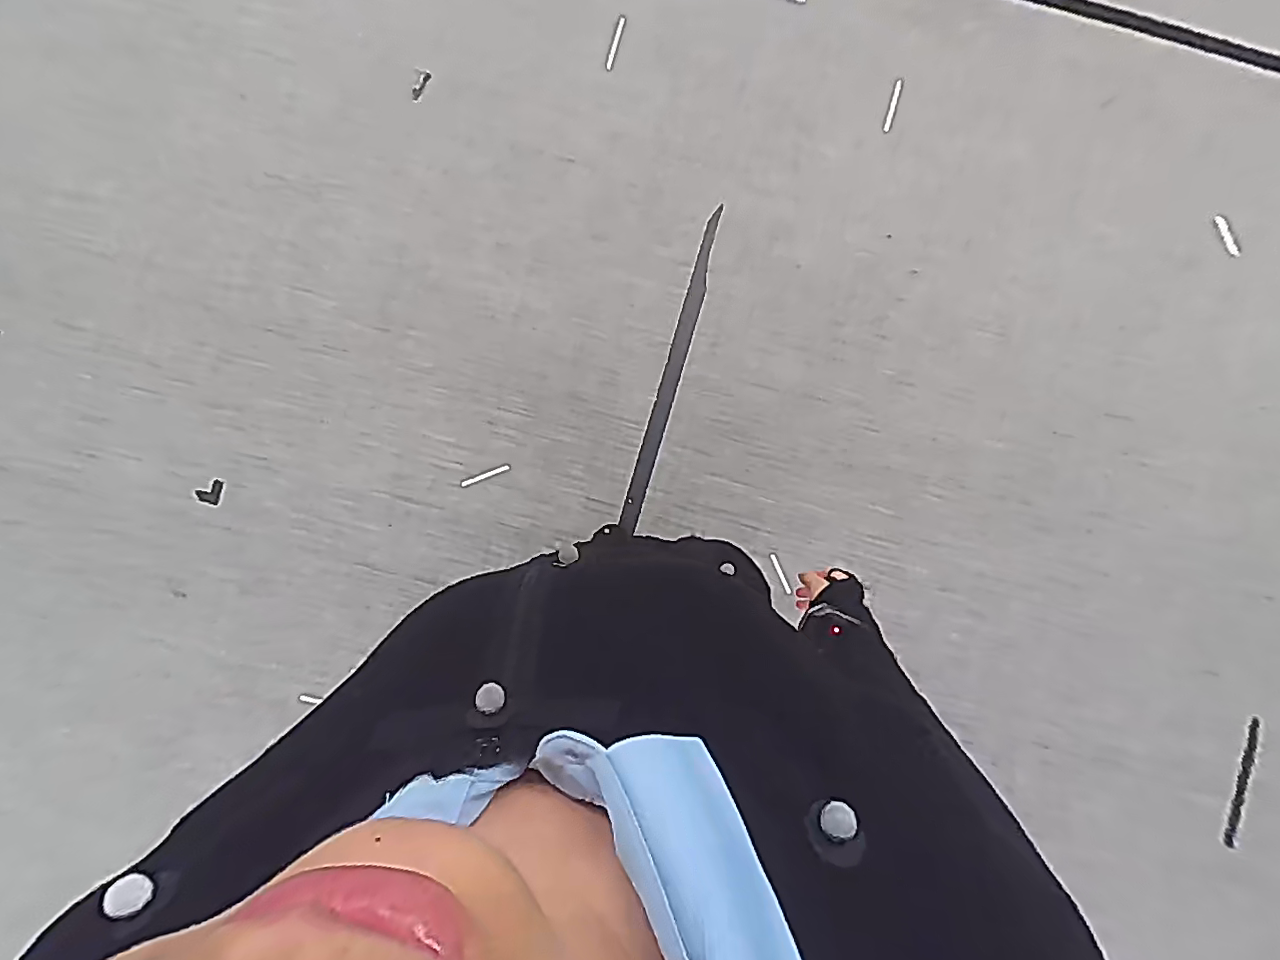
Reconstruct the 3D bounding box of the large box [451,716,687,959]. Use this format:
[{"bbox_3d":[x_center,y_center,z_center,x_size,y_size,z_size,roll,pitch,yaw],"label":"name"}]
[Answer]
[{"bbox_3d":[-0.130,0.748,1.159,0.408,0.320,0.320,11,86,1],"label":"large box"}]
